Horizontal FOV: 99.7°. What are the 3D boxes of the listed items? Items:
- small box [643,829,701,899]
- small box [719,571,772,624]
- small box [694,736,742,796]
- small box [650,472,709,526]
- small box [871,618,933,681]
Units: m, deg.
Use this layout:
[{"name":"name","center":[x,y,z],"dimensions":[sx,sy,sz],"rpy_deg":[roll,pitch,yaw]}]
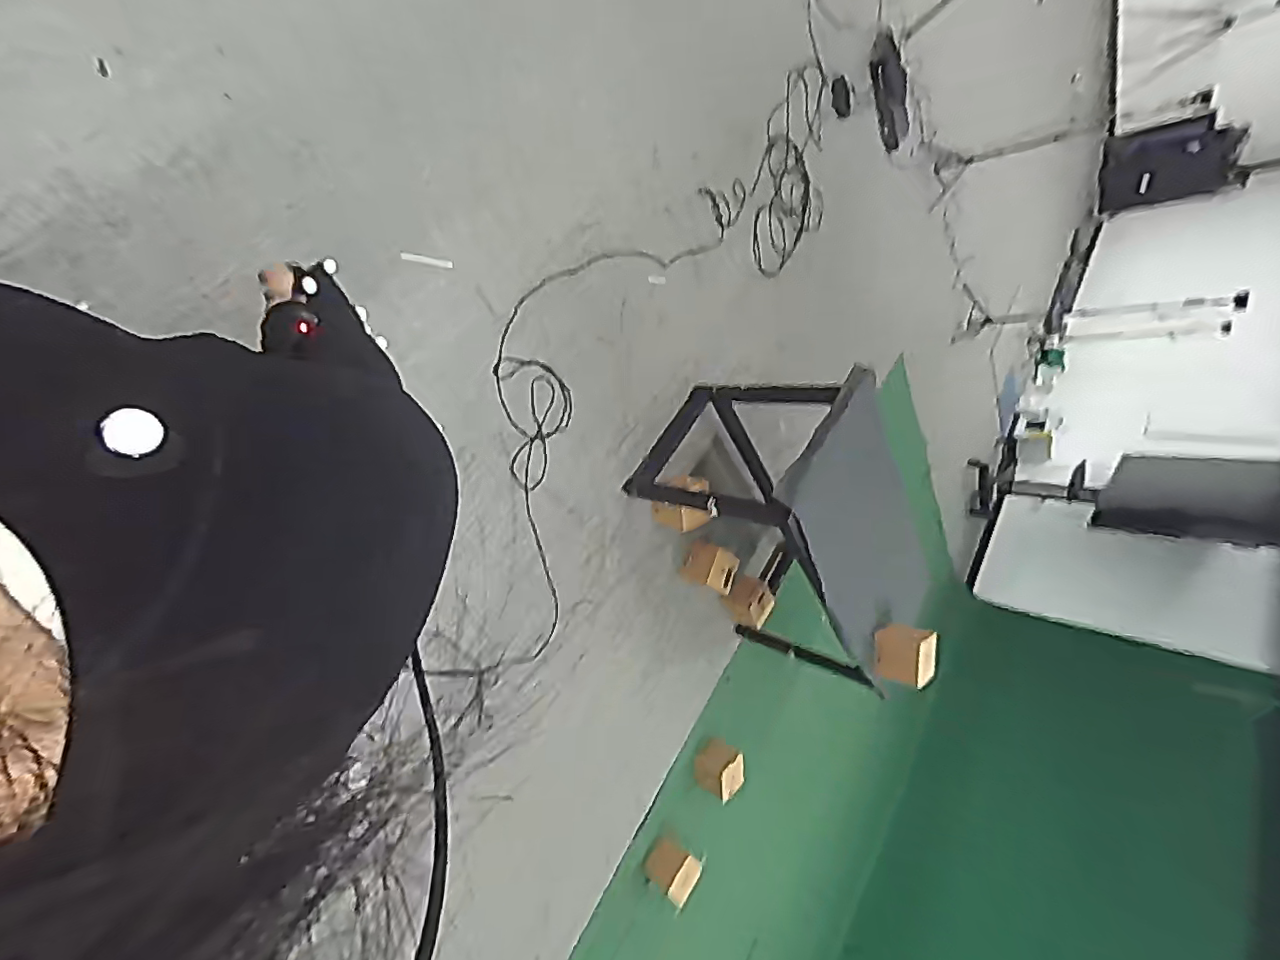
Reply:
[{"name":"small box","center":[0.143,1.740,2.460],"dimensions":[0.179,0.176,0.168],"rpy_deg":[-46,125,-27]},{"name":"small box","center":[0.507,0.561,2.610],"dimensions":[0.168,0.176,0.179],"rpy_deg":[-50,128,-26]},{"name":"small box","center":[0.375,1.379,2.625],"dimensions":[0.168,0.176,0.179],"rpy_deg":[-20,110,-41]},{"name":"small box","center":[0.154,0.073,2.185],"dimensions":[0.179,0.176,0.168],"rpy_deg":[-21,111,-41]},{"name":"small box","center":[1.007,0.645,2.081],"dimensions":[0.179,0.176,0.168],"rpy_deg":[-4,97,-44]}]
